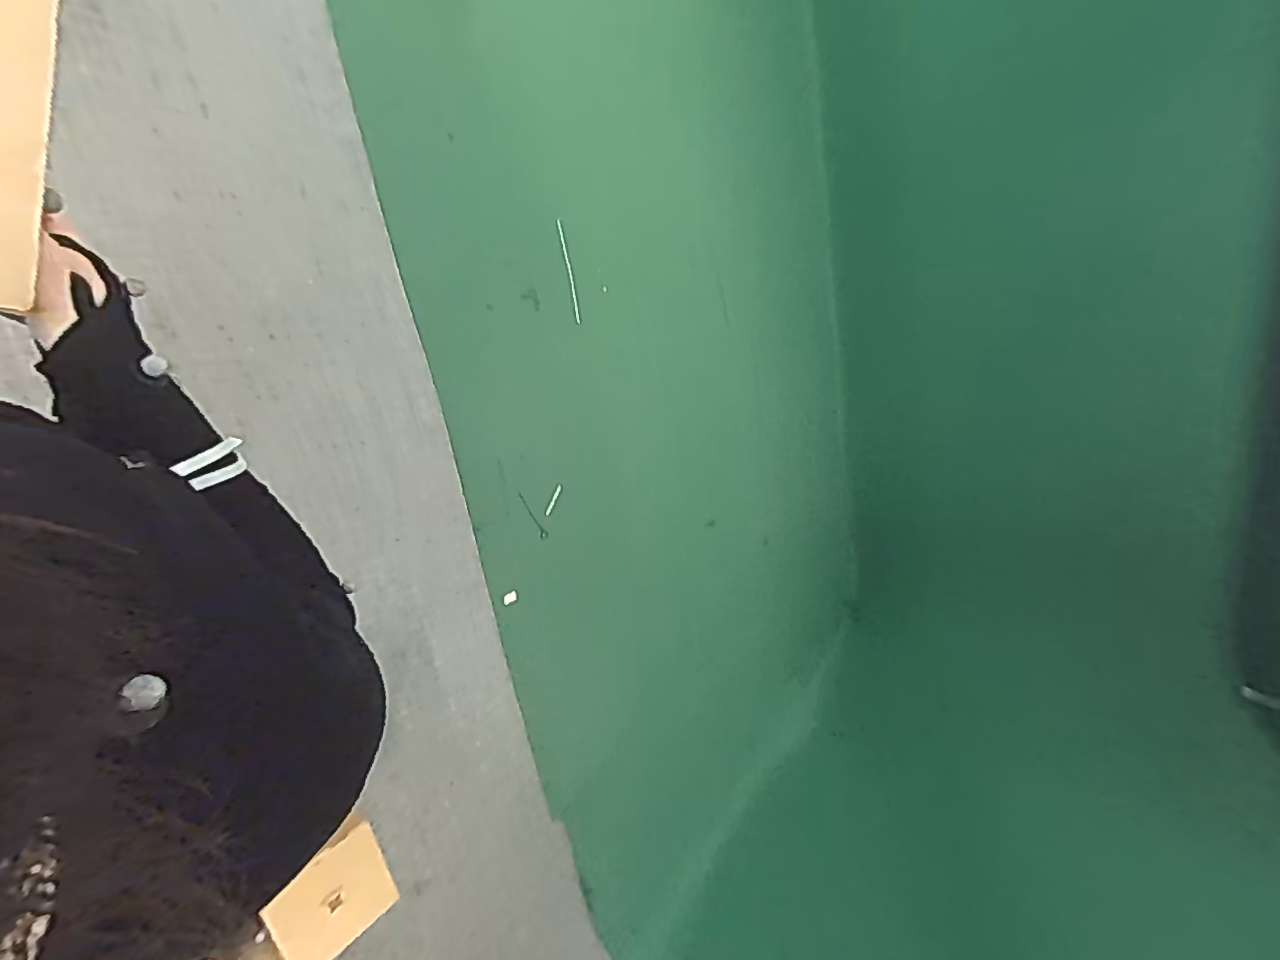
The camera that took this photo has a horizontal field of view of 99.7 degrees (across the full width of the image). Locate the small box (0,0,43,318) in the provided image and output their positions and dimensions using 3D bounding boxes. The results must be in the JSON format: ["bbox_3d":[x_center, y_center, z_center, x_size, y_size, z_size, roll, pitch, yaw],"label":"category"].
[{"bbox_3d":[-0.444,-0.199,0.281,0.168,0.176,0.179,2,105,-53],"label":"small box"}]

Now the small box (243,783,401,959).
[{"bbox_3d":[-0.547,0.672,0.933,0.168,0.176,0.179,-27,110,-43],"label":"small box"}]
